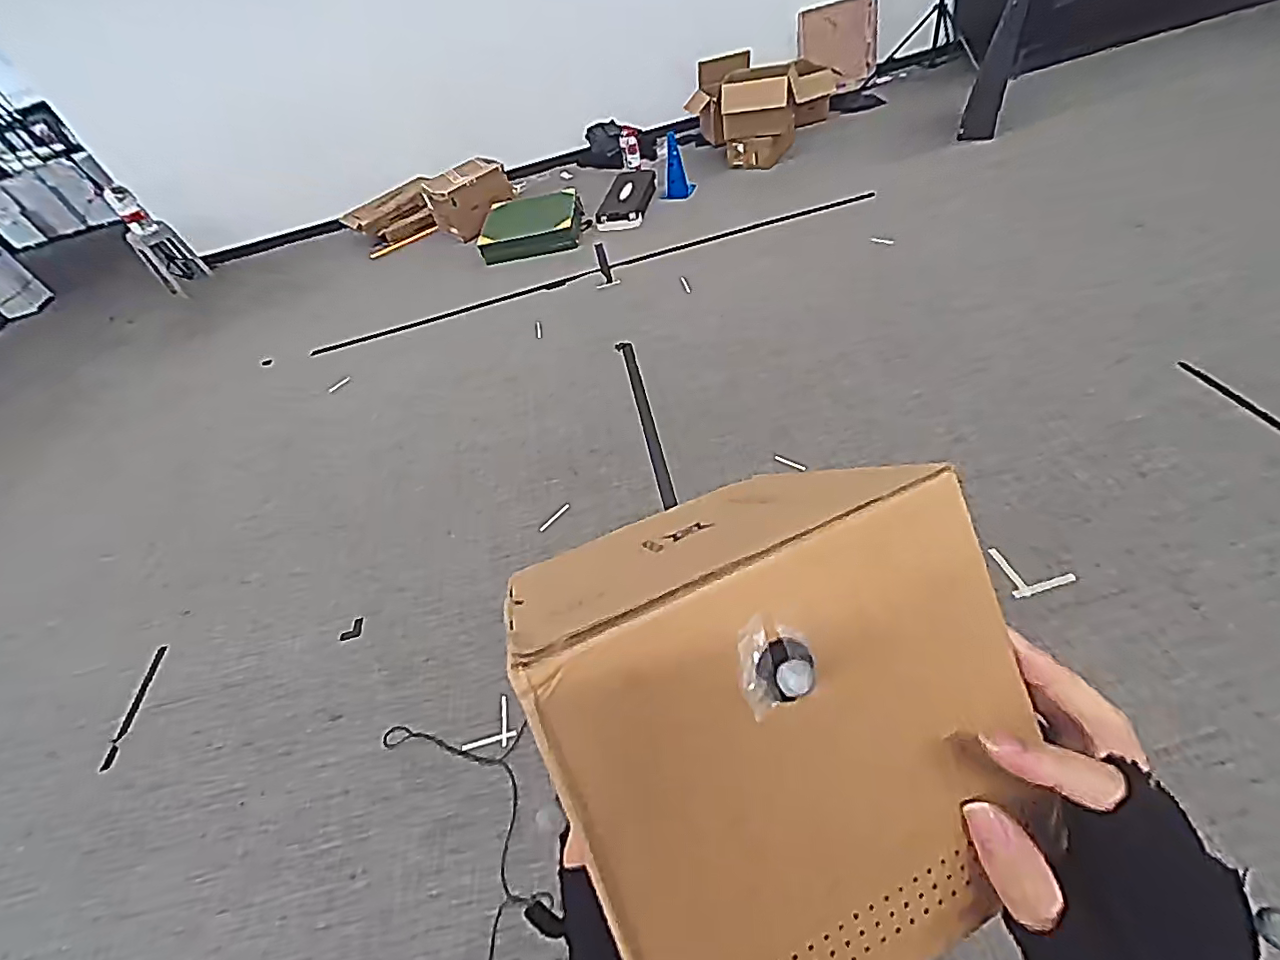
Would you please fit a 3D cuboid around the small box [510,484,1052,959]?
[{"bbox_3d":[0.050,0.112,0.266,0.179,0.176,0.168,-21,4,-13],"label":"small box"}]
